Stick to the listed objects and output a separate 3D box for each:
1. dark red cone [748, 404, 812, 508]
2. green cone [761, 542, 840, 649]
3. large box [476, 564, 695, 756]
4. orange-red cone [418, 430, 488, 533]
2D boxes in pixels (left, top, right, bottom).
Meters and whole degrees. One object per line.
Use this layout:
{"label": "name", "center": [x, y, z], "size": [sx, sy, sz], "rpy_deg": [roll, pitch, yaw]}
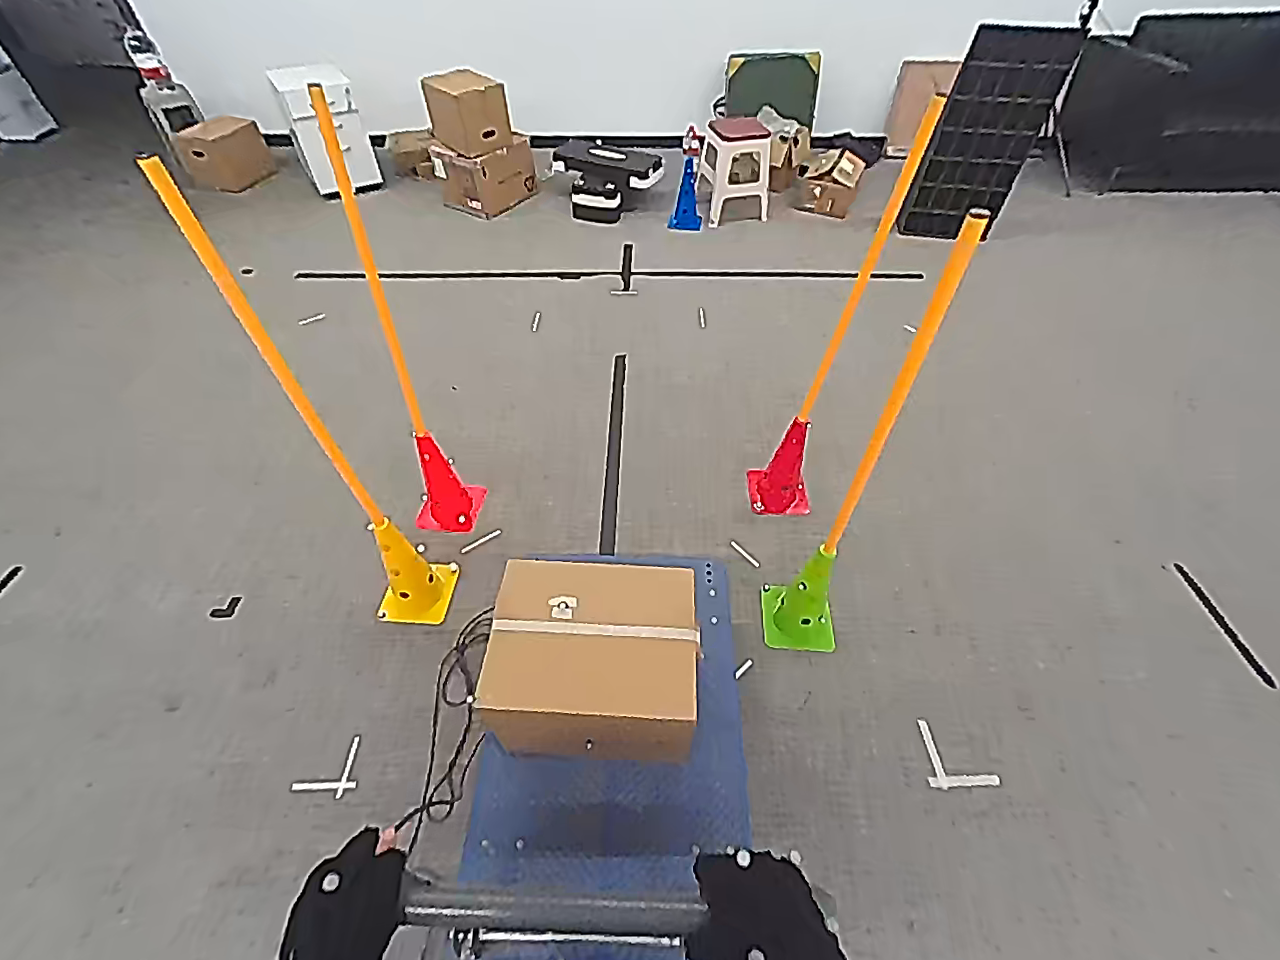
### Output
{"label": "dark red cone", "center": [0.493, -0.089, 1.775], "size": [0.201, 0.394, 0.202], "rpy_deg": [2, 49, -1]}
{"label": "green cone", "center": [0.467, 0.289, 1.470], "size": [0.202, 0.368, 0.200], "rpy_deg": [4, 49, 2]}
{"label": "large box", "center": [-0.091, 0.398, 1.183], "size": [0.408, 0.320, 0.320], "rpy_deg": [2, 49, 3]}
{"label": "orange-red cone", "center": [-0.639, -0.021, 1.739], "size": [0.198, 0.360, 0.199], "rpy_deg": [7, 48, 4]}
